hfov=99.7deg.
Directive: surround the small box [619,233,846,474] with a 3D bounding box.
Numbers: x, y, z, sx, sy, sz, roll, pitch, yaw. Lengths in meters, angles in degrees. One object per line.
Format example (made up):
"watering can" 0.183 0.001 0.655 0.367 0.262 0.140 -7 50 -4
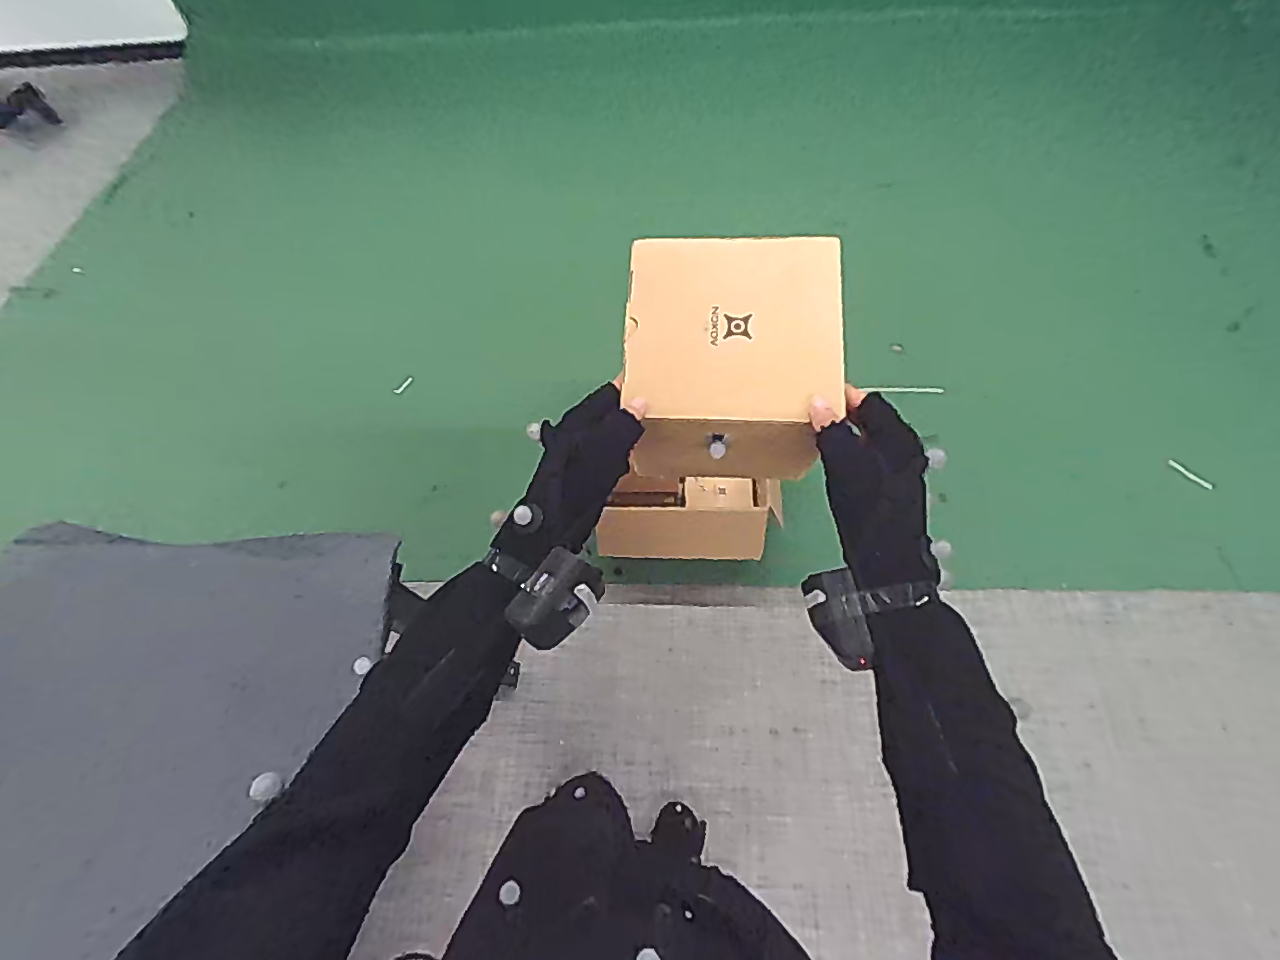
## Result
"small box" 0.082 -0.107 0.511 0.179 0.176 0.168 2 75 7
